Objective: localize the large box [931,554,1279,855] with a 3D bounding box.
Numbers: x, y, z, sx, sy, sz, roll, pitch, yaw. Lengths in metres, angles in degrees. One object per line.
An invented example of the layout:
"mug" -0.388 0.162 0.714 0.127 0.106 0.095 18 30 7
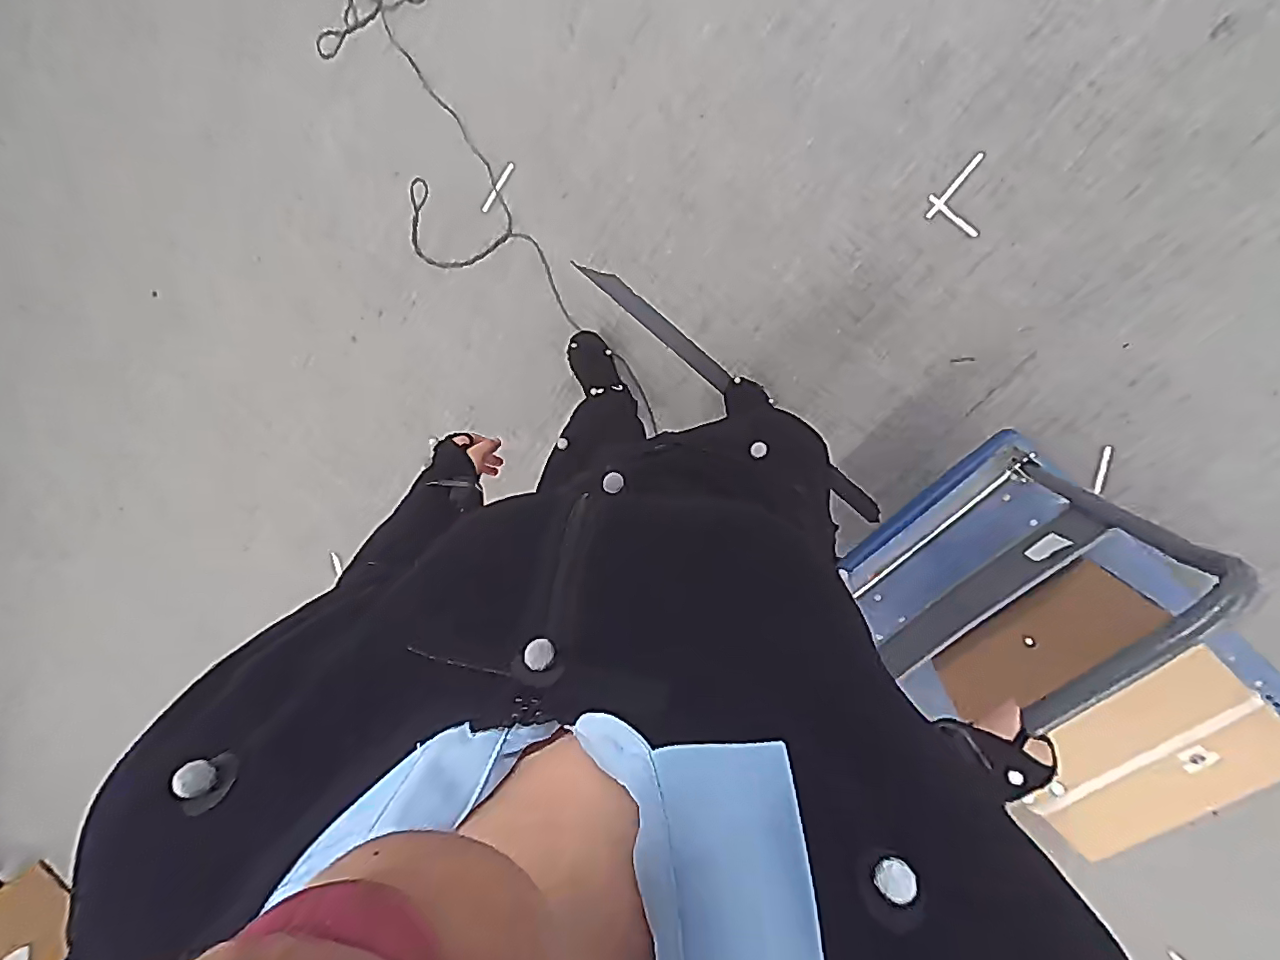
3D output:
"large box" 0.892 0.427 1.084 0.320 0.320 0.408 44 109 -2
